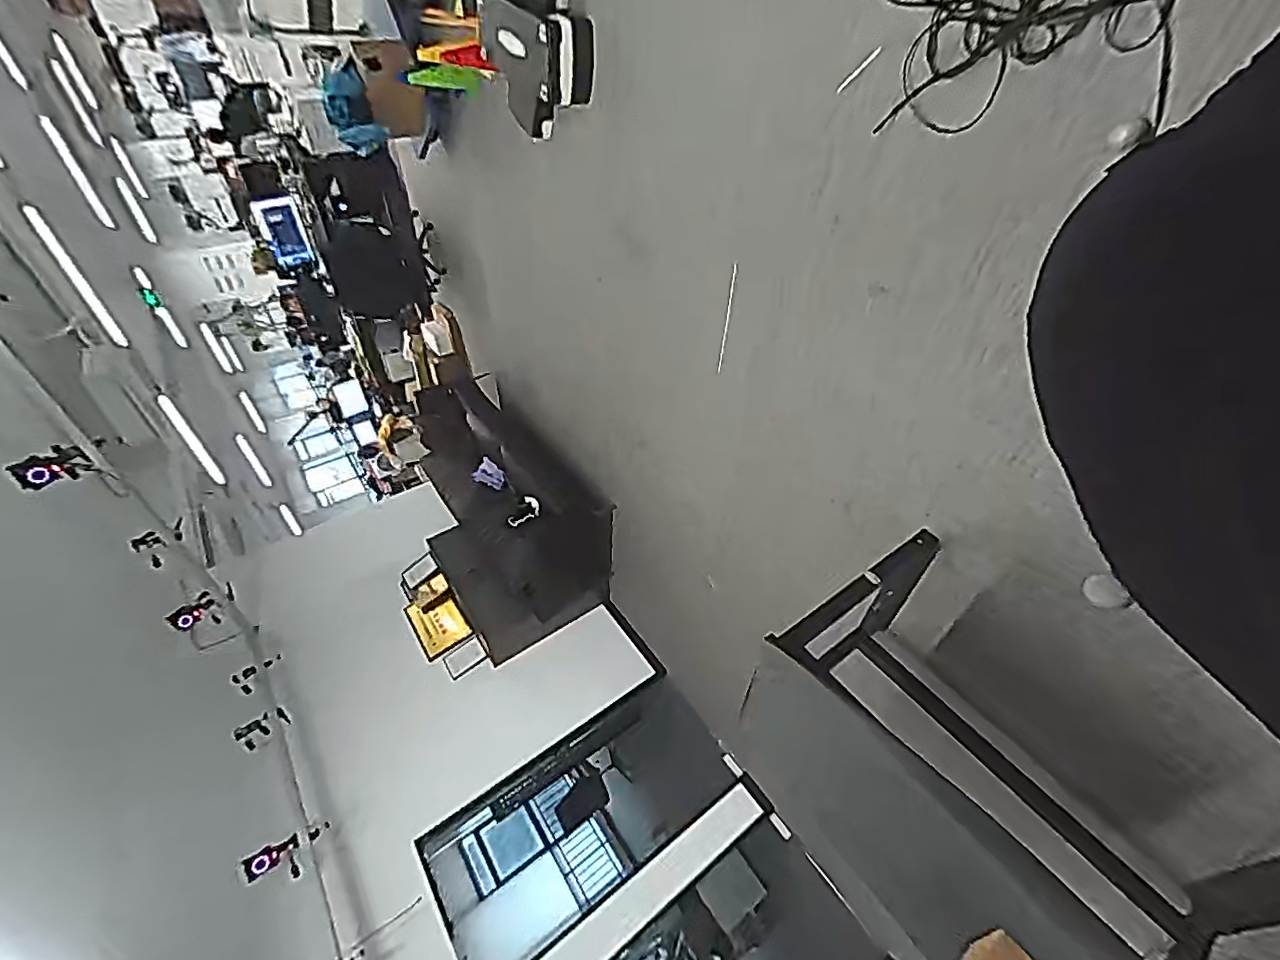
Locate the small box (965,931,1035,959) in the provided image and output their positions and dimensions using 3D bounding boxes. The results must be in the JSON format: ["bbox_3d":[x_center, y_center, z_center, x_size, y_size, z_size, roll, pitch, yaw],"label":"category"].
[{"bbox_3d":[0.764,1.096,1.124,0.168,0.176,0.179,40,145,38],"label":"small box"}]
